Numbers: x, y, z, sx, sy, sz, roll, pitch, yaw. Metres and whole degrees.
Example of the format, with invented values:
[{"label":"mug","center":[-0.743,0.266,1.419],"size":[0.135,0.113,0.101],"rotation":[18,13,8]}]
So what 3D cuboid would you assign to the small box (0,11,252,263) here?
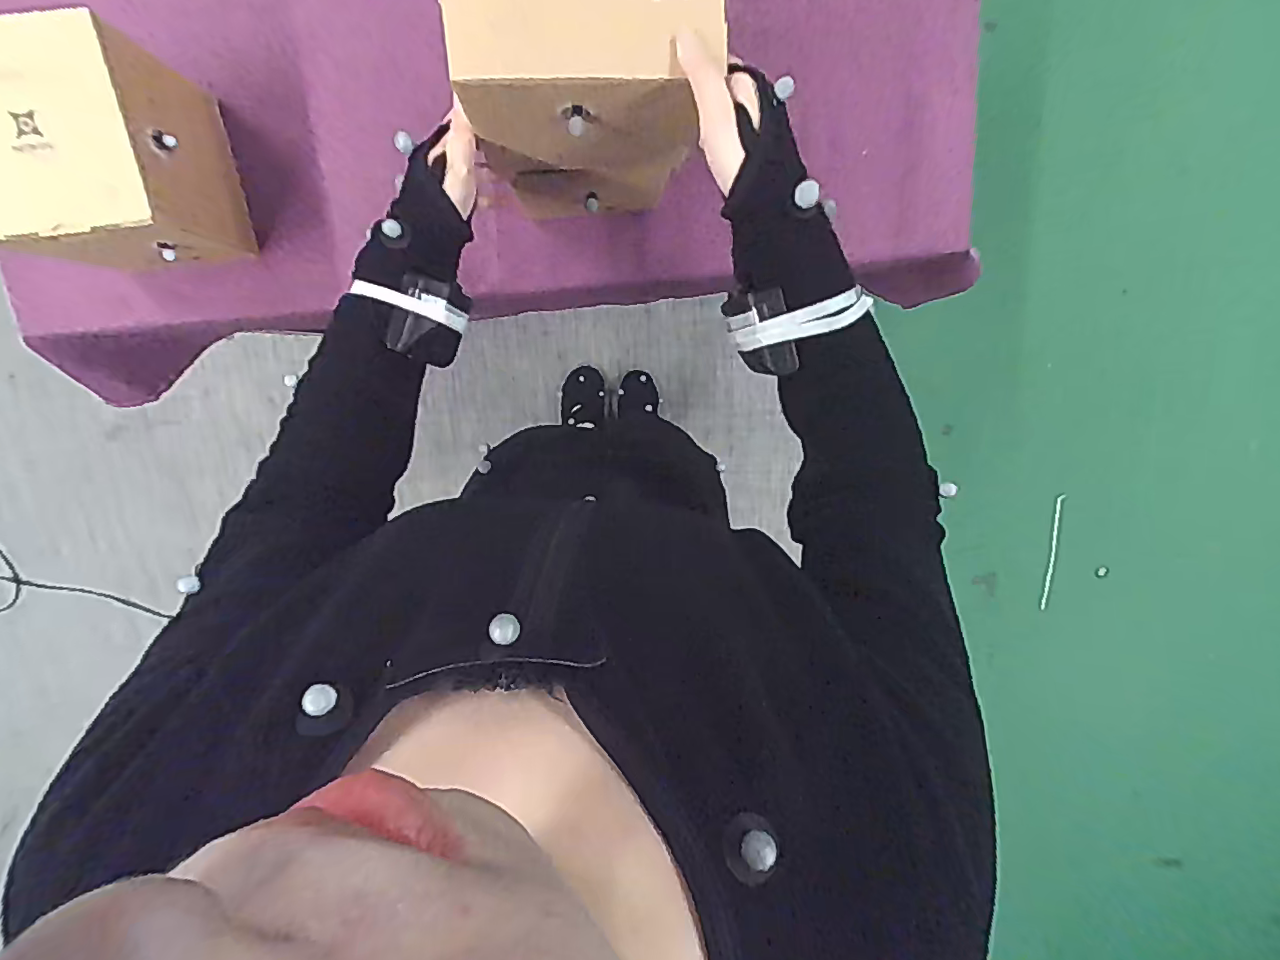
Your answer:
[{"label":"small box","center":[-0.548,-0.331,0.559],"size":[0.168,0.176,0.179],"rotation":[-7,103,-4]}]

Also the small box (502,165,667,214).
[{"label":"small box","center":[-0.063,-0.398,0.583],"size":[0.168,0.176,0.179],"rotation":[-6,104,-3]}]

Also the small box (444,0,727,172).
[{"label":"small box","center":[-0.042,-0.344,0.401],"size":[0.179,0.176,0.168],"rotation":[-4,104,-7]}]
